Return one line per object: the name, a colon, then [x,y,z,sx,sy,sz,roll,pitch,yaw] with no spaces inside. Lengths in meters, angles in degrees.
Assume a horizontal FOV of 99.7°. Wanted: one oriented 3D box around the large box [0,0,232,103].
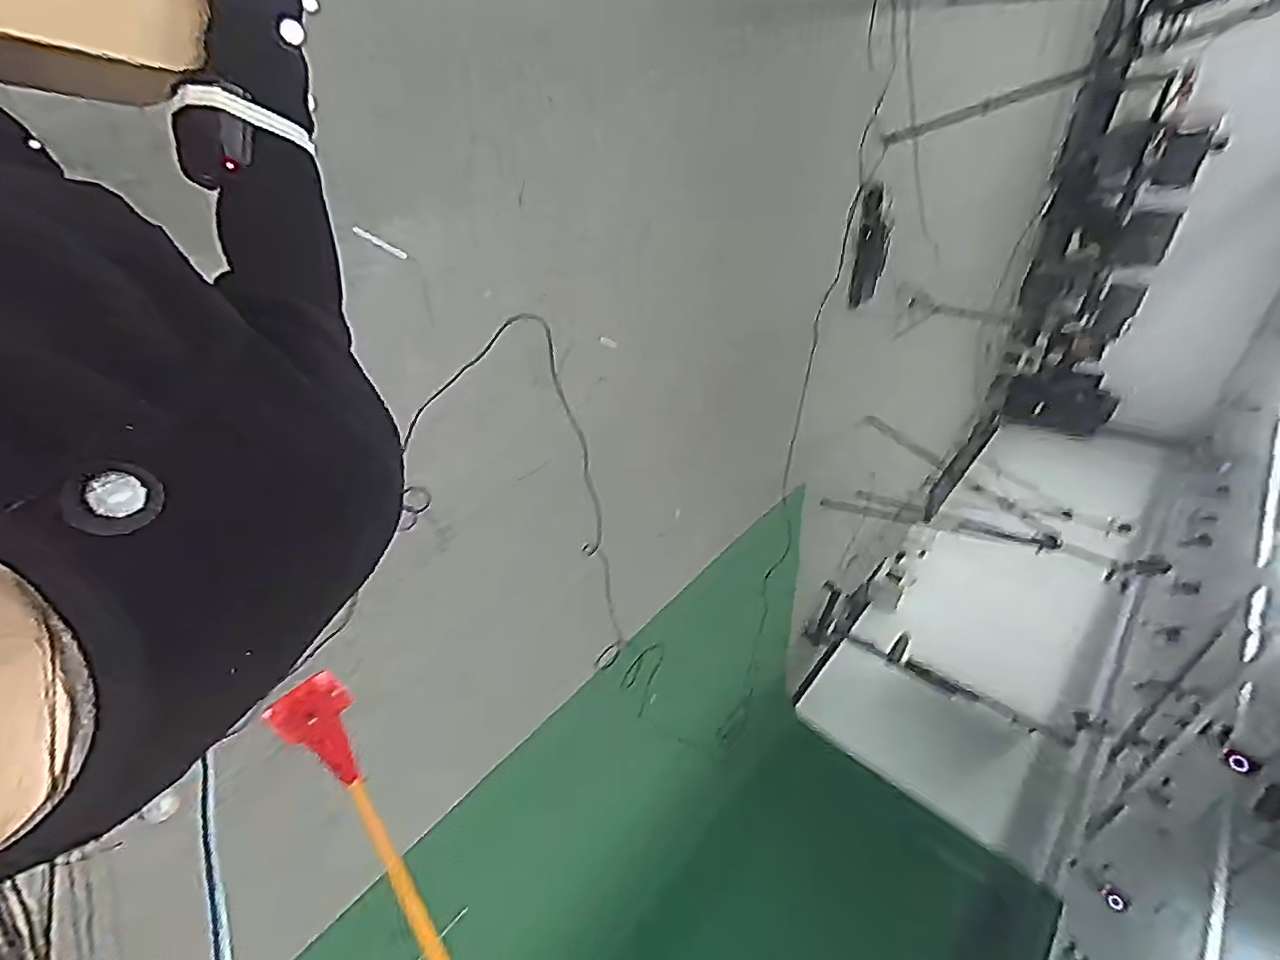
large box: [-0.571,-0.466,0.342,0.408,0.320,0.320,-21,125,-45]
